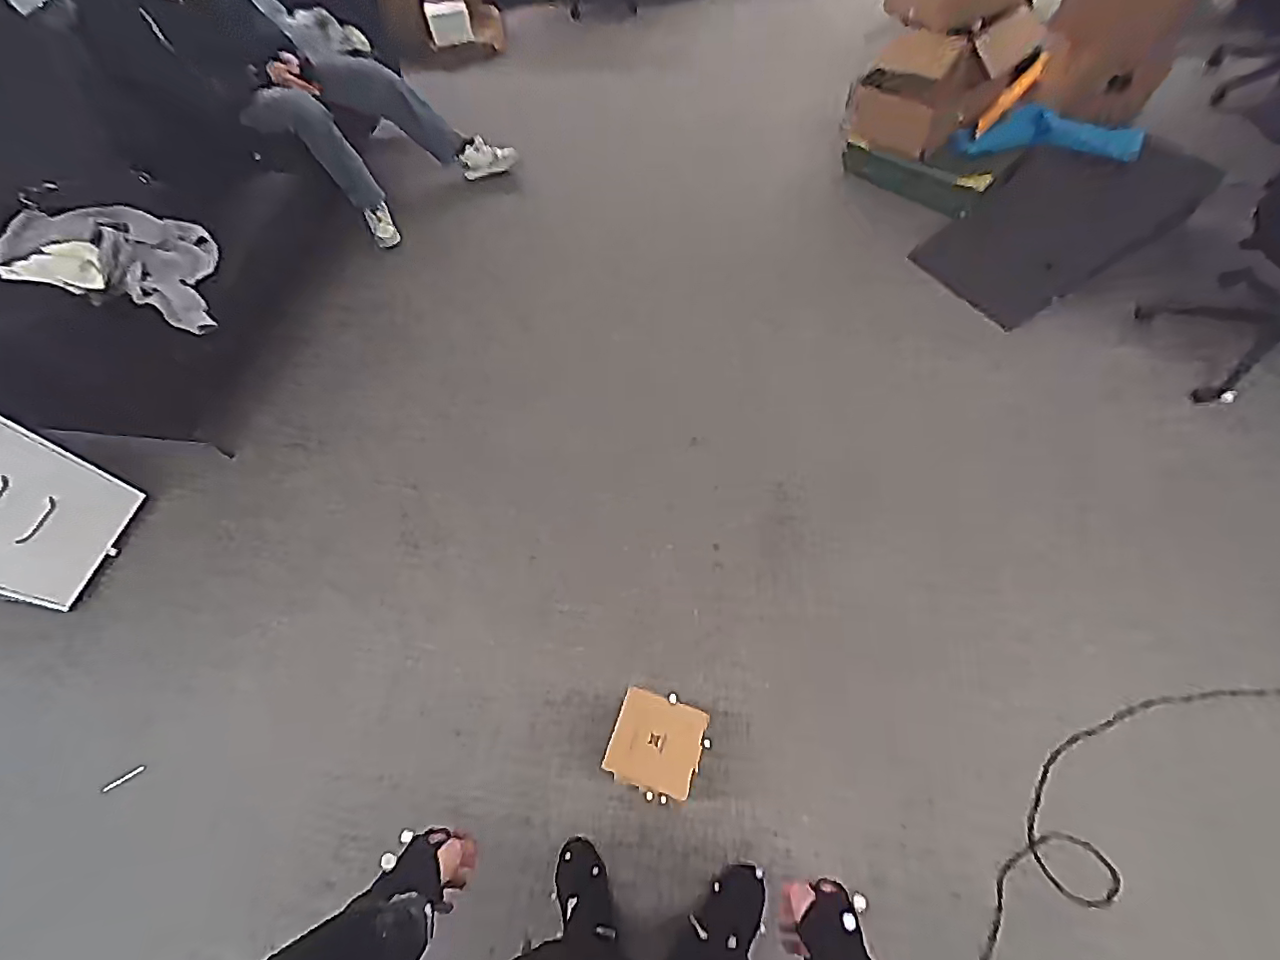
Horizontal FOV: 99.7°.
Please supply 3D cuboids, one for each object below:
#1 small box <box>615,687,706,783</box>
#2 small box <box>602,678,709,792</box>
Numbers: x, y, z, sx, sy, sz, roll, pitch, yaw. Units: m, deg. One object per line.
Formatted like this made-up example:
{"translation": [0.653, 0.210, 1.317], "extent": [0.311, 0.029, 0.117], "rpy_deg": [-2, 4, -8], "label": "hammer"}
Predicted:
{"translation": [0.053, 0.615, 1.293], "extent": [0.179, 0.176, 0.168], "rpy_deg": [-16, 59, -1], "label": "small box"}
{"translation": [0.041, 0.545, 1.155], "extent": [0.179, 0.176, 0.168], "rpy_deg": [15, 62, 15], "label": "small box"}
